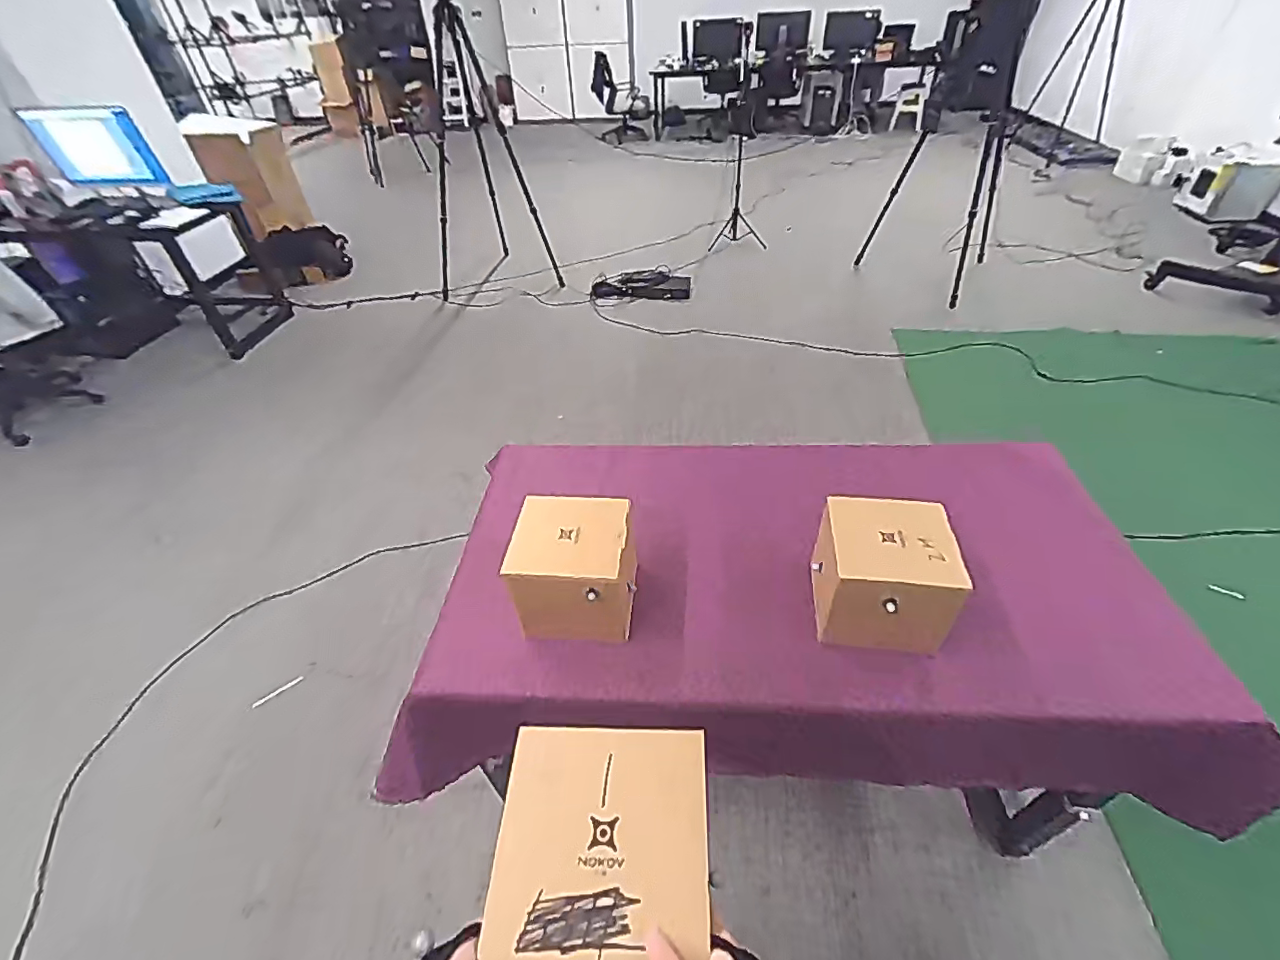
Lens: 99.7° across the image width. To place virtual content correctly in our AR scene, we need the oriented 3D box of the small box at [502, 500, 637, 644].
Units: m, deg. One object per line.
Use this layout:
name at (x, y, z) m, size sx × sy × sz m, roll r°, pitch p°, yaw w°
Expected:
small box at (-0.103, 0.151, 0.883) m, size 0.179 × 0.176 × 0.168 m, roll 1°, pitch 42°, yaw 6°

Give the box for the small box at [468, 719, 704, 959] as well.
small box at (-0.028, 0.333, 0.481) m, size 0.168 × 0.176 × 0.179 m, roll -1°, pitch 47°, yaw 6°

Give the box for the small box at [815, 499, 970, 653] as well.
small box at (0.372, 0.149, 0.839) m, size 0.179 × 0.176 × 0.168 m, roll 4°, pitch 43°, yaw 9°
